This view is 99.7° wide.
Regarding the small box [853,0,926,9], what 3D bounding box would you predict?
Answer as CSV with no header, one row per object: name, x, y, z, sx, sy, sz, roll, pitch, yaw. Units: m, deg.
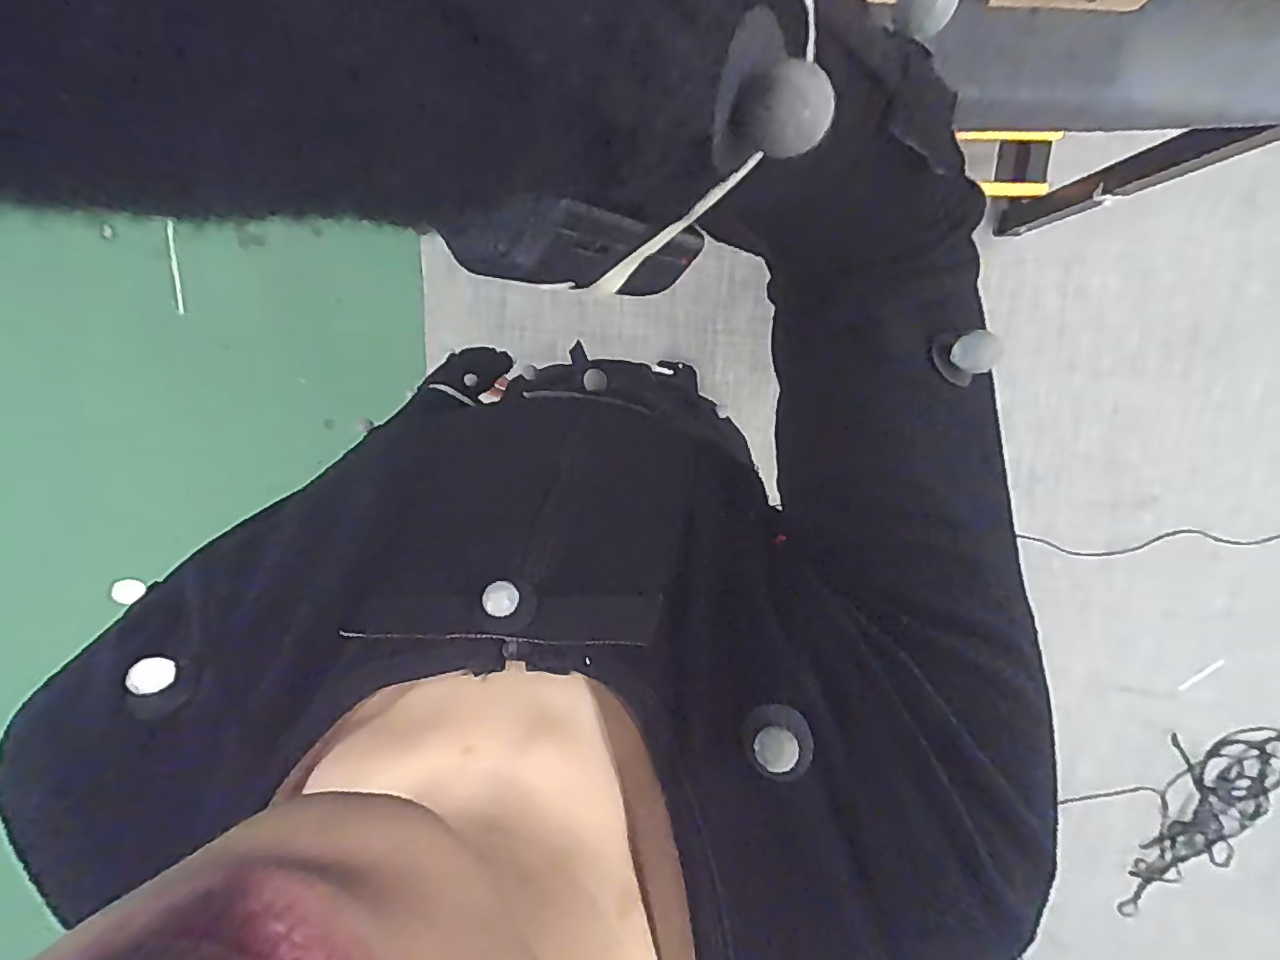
small box,0.248,-0.610,0.527,0.168,0.176,0.179,5,101,1
